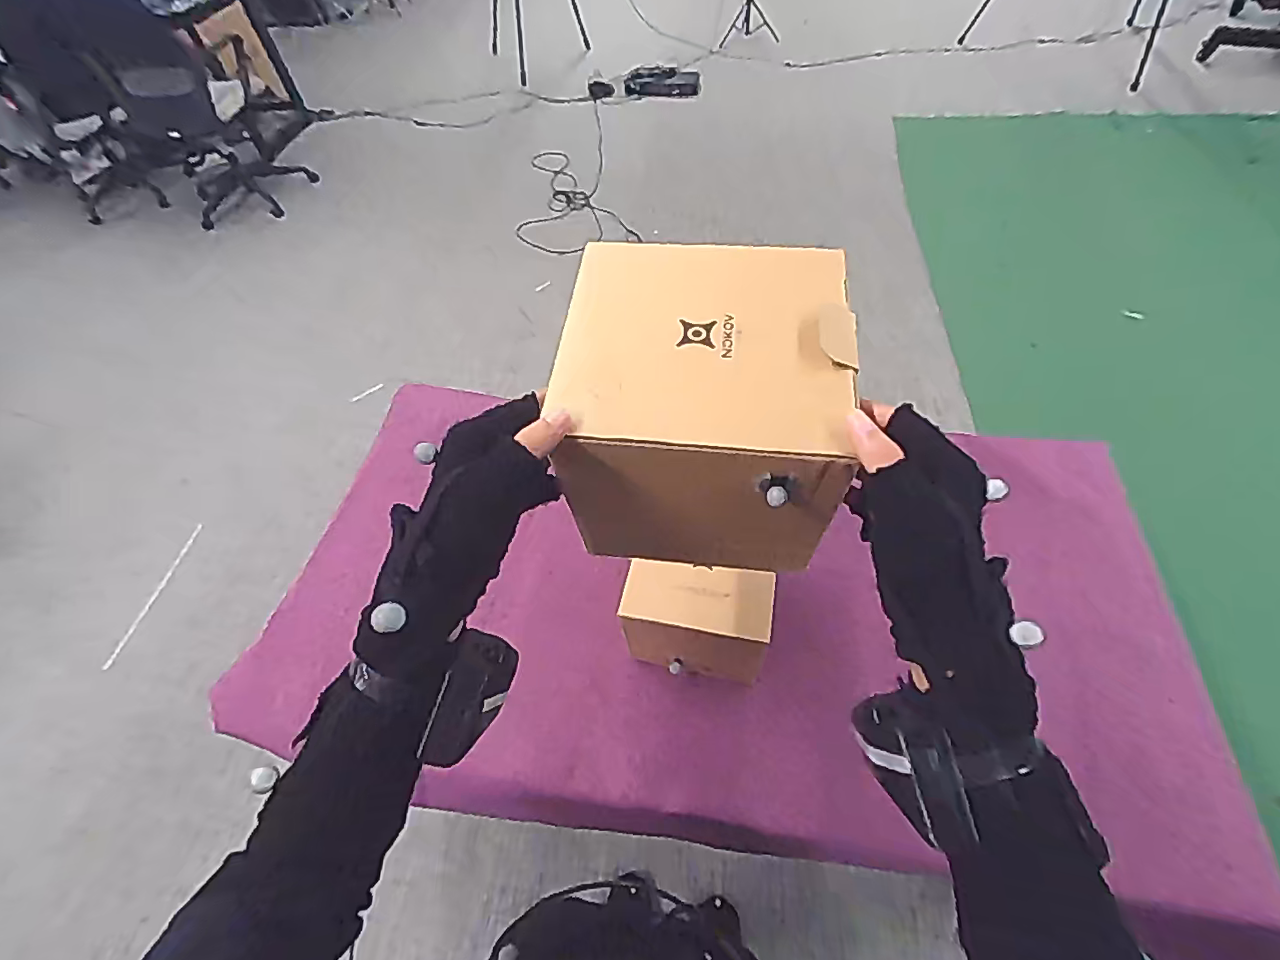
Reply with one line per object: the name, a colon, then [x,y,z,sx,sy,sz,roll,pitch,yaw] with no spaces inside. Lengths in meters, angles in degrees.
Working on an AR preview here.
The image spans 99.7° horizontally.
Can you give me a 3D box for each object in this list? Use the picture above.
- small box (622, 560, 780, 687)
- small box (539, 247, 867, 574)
small box: [0.082,0.137,0.681,0.168,0.176,0.179,8,56,12]
small box: [0.044,-0.042,0.391,0.179,0.176,0.168,5,59,6]
